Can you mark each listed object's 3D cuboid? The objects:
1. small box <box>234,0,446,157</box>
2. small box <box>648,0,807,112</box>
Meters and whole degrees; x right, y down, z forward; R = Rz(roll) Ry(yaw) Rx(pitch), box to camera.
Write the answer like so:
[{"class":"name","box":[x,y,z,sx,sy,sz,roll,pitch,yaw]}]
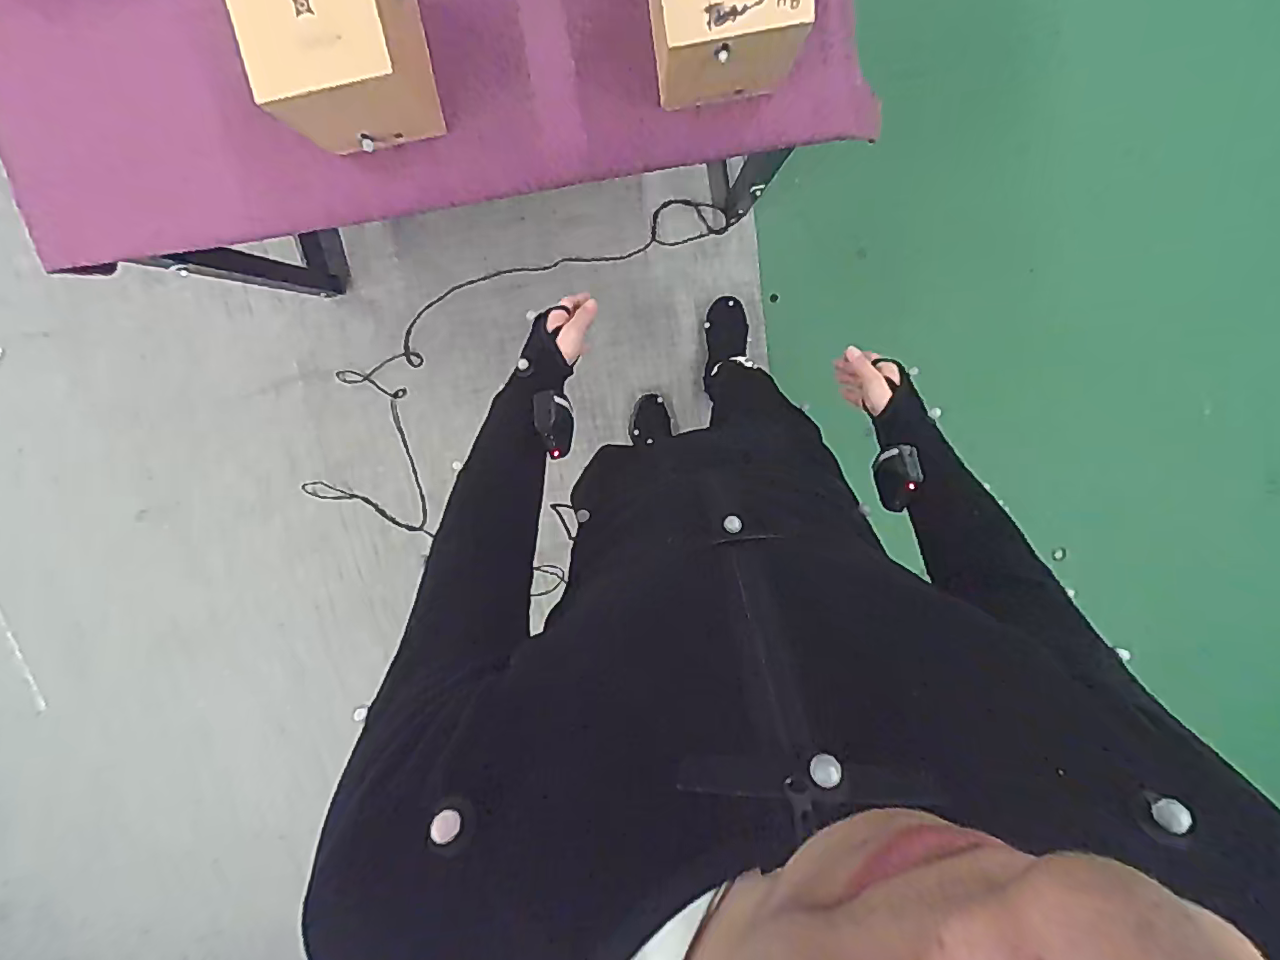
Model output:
[{"class":"small box","box":[-0.370,-0.546,0.684,0.168,0.176,0.179,-9,102,4]},{"class":"small box","box":[0.096,-0.591,0.660,0.168,0.176,0.179,-7,103,4]}]
